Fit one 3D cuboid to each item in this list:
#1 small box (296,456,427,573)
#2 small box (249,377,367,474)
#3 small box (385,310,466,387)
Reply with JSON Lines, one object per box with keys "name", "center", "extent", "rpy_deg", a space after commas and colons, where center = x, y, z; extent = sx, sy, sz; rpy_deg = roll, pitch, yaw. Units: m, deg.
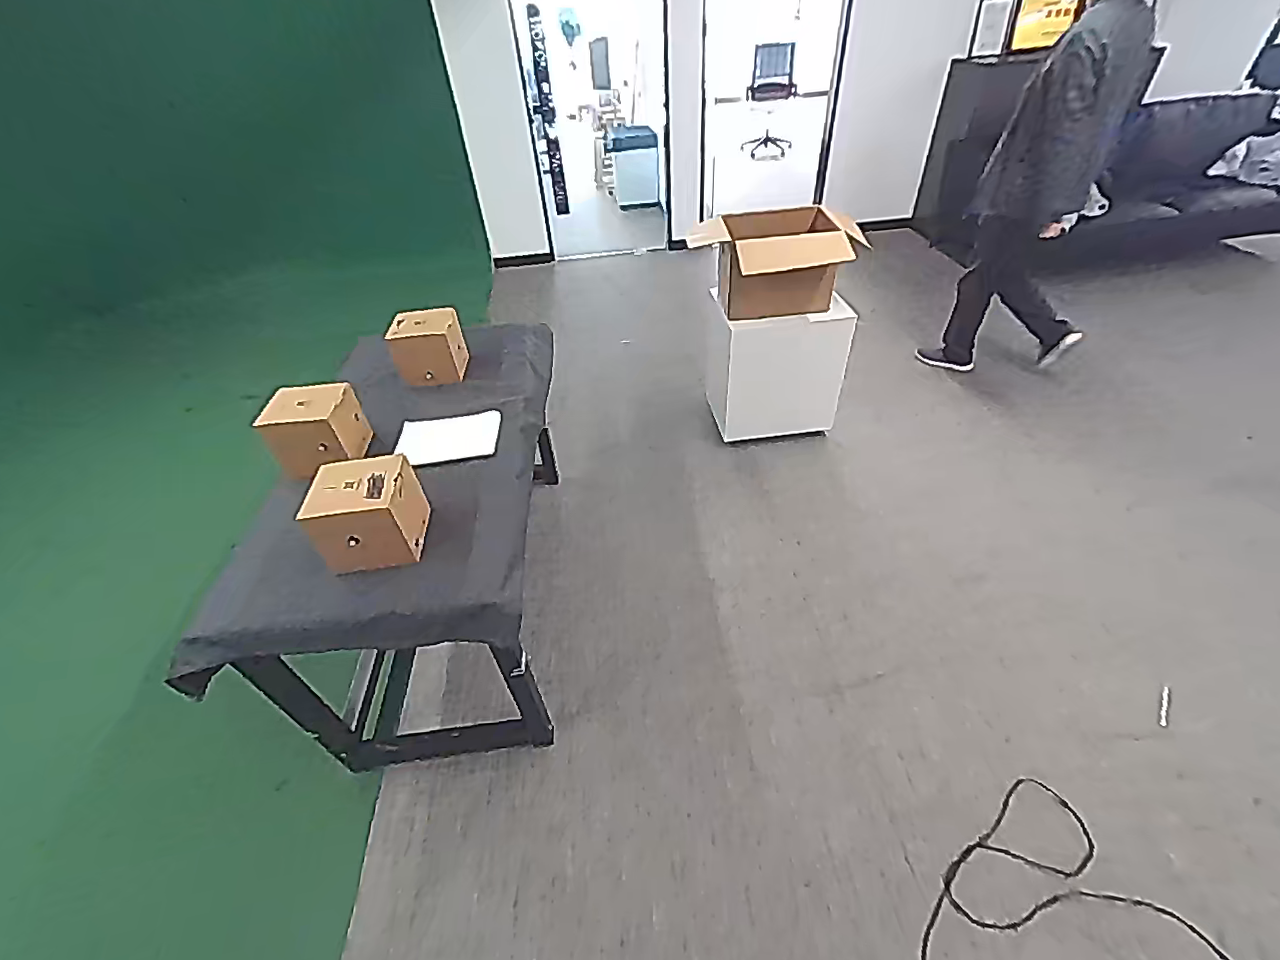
{"name": "small box", "center": [-0.563, 0.072, 1.124], "extent": [0.179, 0.176, 0.168], "rpy_deg": [-7, 42, -3]}
{"name": "small box", "center": [-0.811, -0.134, 1.347], "extent": [0.179, 0.176, 0.168], "rpy_deg": [-7, 41, -3]}
{"name": "small box", "center": [-0.643, -0.399, 1.645], "extent": [0.179, 0.176, 0.168], "rpy_deg": [-5, 42, -3]}
